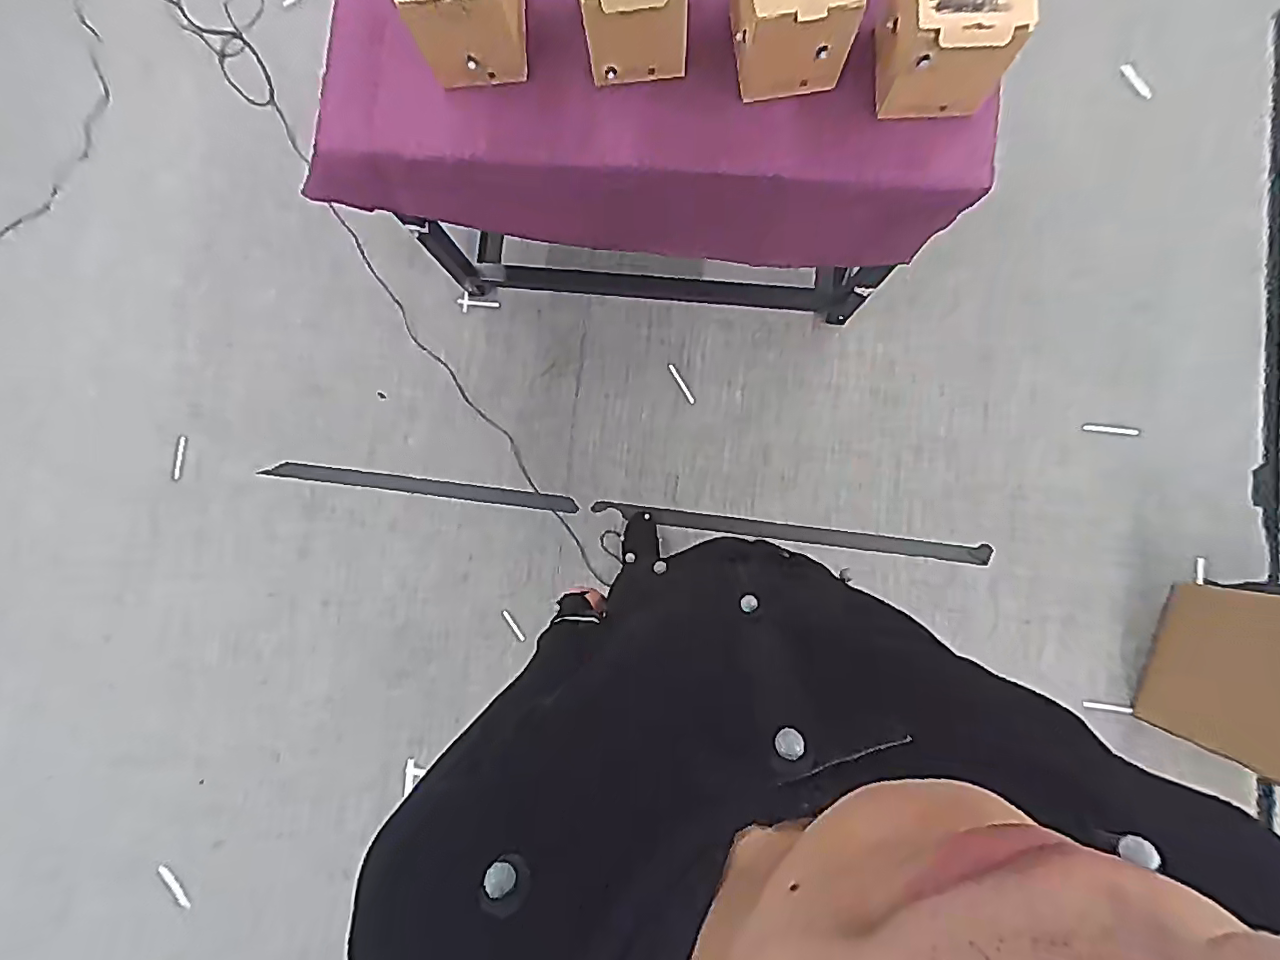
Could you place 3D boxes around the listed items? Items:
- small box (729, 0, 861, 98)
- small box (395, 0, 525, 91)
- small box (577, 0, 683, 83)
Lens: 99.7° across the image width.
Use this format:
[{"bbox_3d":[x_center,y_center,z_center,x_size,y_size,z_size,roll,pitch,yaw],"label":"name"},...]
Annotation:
[{"bbox_3d":[0.245,-0.768,0.890,0.168,0.176,0.179,-7,85,2],"label":"small box"},{"bbox_3d":[-0.297,-0.811,0.920,0.168,0.176,0.179,-3,86,3],"label":"small box"},{"bbox_3d":[-0.015,-0.806,0.905,0.168,0.176,0.179,-5,85,3],"label":"small box"}]
